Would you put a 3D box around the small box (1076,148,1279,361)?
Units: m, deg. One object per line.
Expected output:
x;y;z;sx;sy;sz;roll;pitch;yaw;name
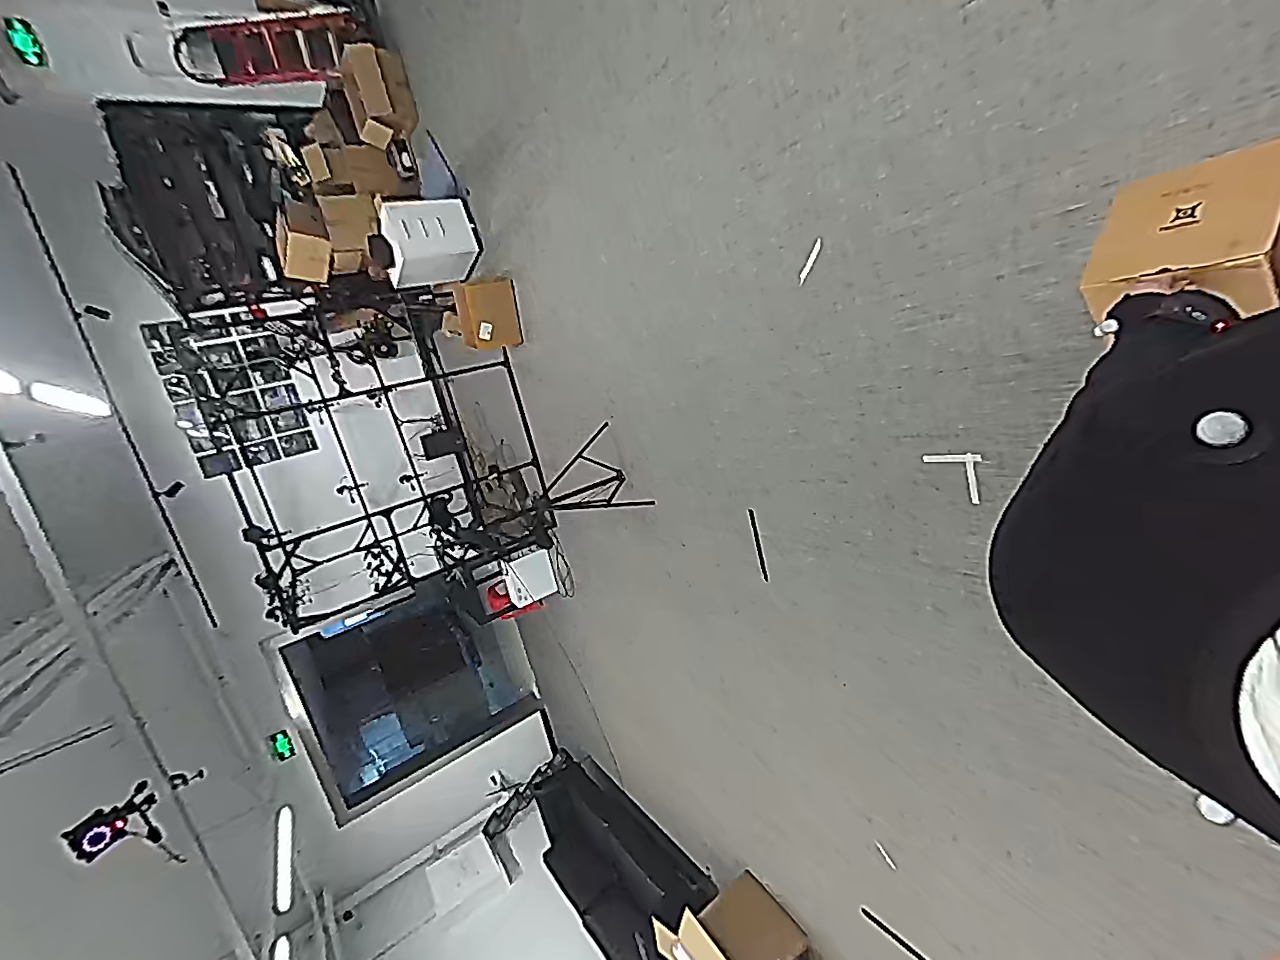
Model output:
0.703;-0.266;0.686;0.176;0.179;0.168;38;167;-30;small box
